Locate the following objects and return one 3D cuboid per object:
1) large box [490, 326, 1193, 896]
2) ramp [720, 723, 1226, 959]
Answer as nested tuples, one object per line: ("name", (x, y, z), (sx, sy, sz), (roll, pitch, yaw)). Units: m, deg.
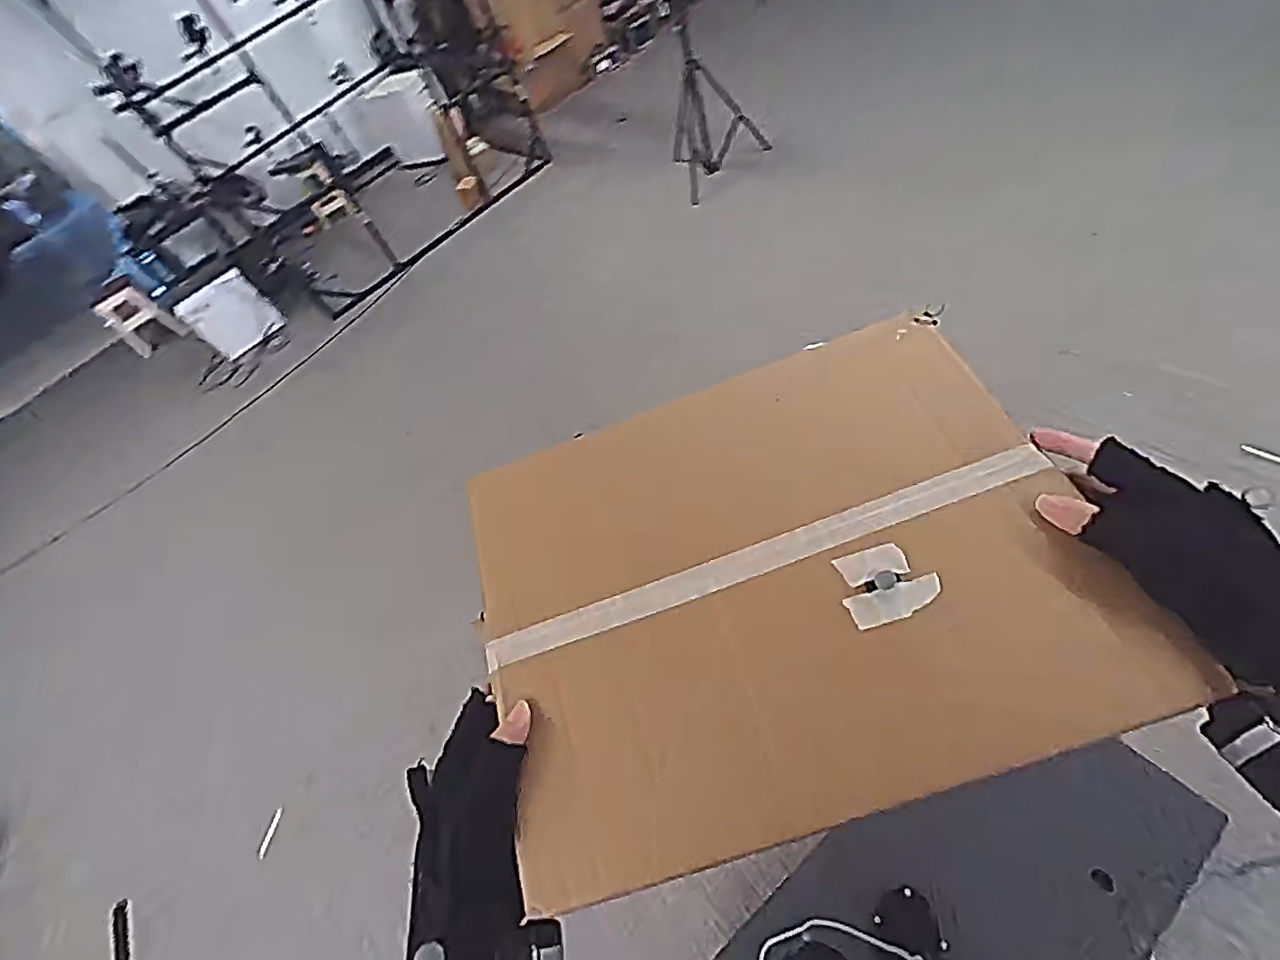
("large box", (0.123, 0.131, 0.518), (0.408, 0.320, 0.320), (-20, 59, 3))
("ramp", (0.672, 0.842, 1.100), (0.991, 0.206, 0.509), (-43, 50, -12))
